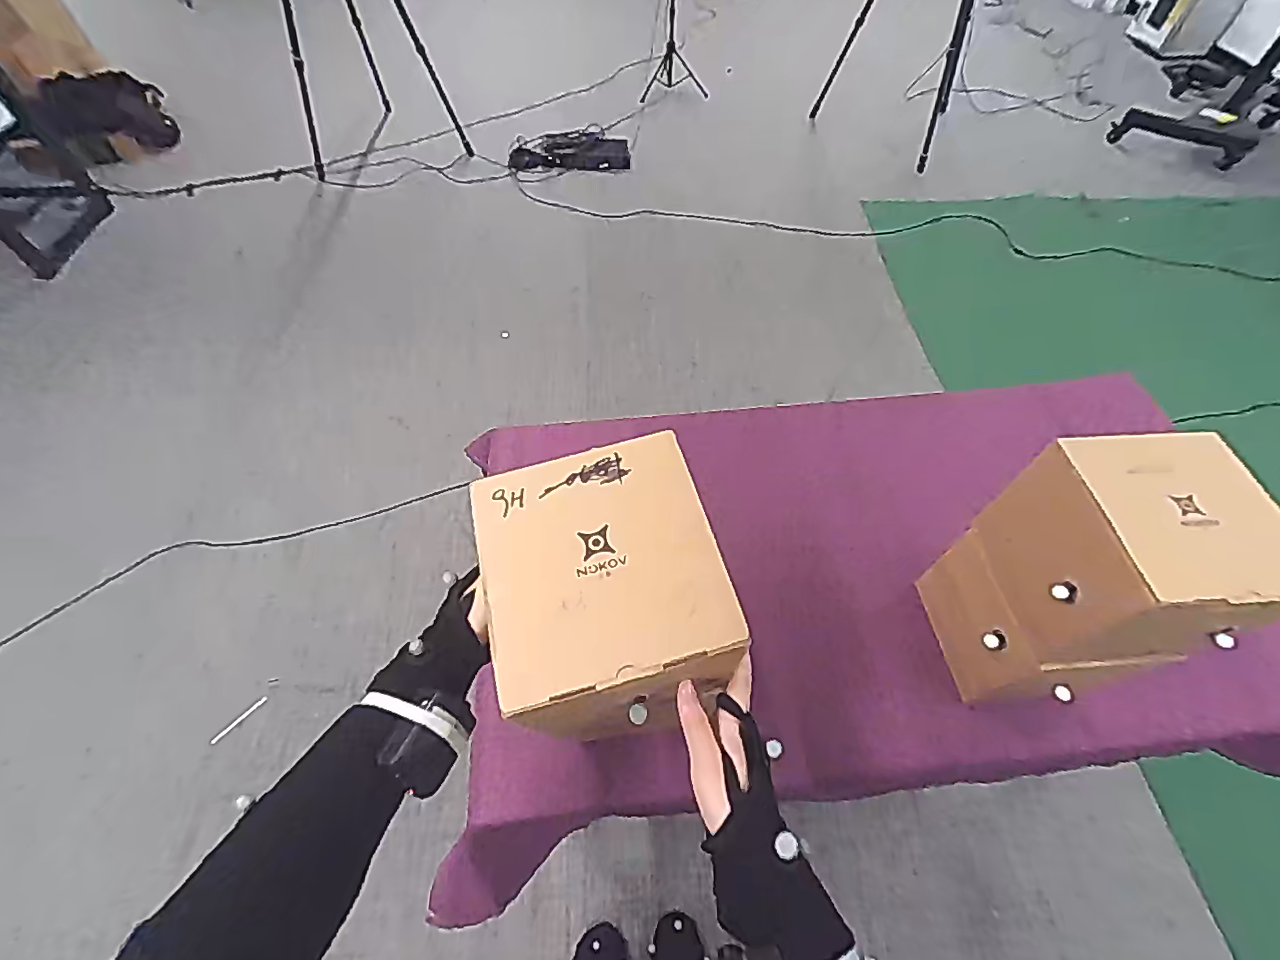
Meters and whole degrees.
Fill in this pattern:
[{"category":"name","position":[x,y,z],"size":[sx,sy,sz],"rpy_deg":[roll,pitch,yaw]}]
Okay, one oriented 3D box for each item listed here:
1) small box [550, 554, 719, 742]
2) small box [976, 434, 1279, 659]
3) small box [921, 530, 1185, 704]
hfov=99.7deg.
[{"category":"small box","position":[-0.011,0.210,0.663],"size":[0.179,0.176,0.168],"rpy_deg":[-6,54,-4]},{"category":"small box","position":[0.489,0.075,0.550],"size":[0.168,0.176,0.179],"rpy_deg":[-2,54,-1]},{"category":"small box","position":[0.491,0.173,0.680],"size":[0.168,0.176,0.179],"rpy_deg":[-4,54,-2]}]
